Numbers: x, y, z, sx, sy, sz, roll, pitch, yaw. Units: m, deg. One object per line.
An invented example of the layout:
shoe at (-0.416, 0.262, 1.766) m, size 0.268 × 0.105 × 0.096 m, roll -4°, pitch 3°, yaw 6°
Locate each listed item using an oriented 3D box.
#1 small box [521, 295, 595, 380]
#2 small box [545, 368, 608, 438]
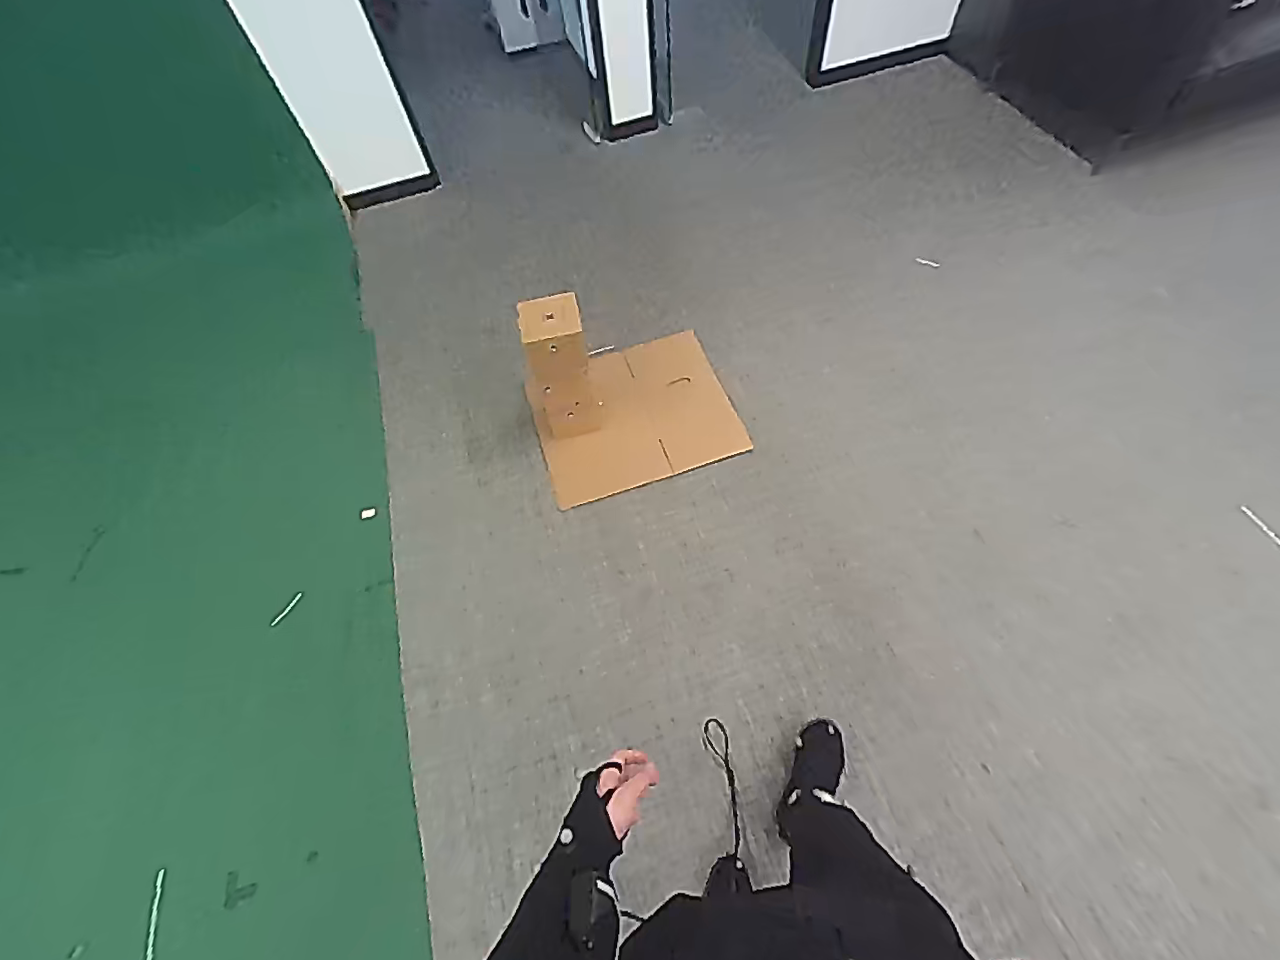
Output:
small box at (-0.243, -0.420, 1.619) m, size 0.179 × 0.176 × 0.168 m, roll -12°, pitch 60°, yaw -1°
small box at (-0.222, -0.270, 1.910) m, size 0.179 × 0.176 × 0.168 m, roll -14°, pitch 60°, yaw -3°
